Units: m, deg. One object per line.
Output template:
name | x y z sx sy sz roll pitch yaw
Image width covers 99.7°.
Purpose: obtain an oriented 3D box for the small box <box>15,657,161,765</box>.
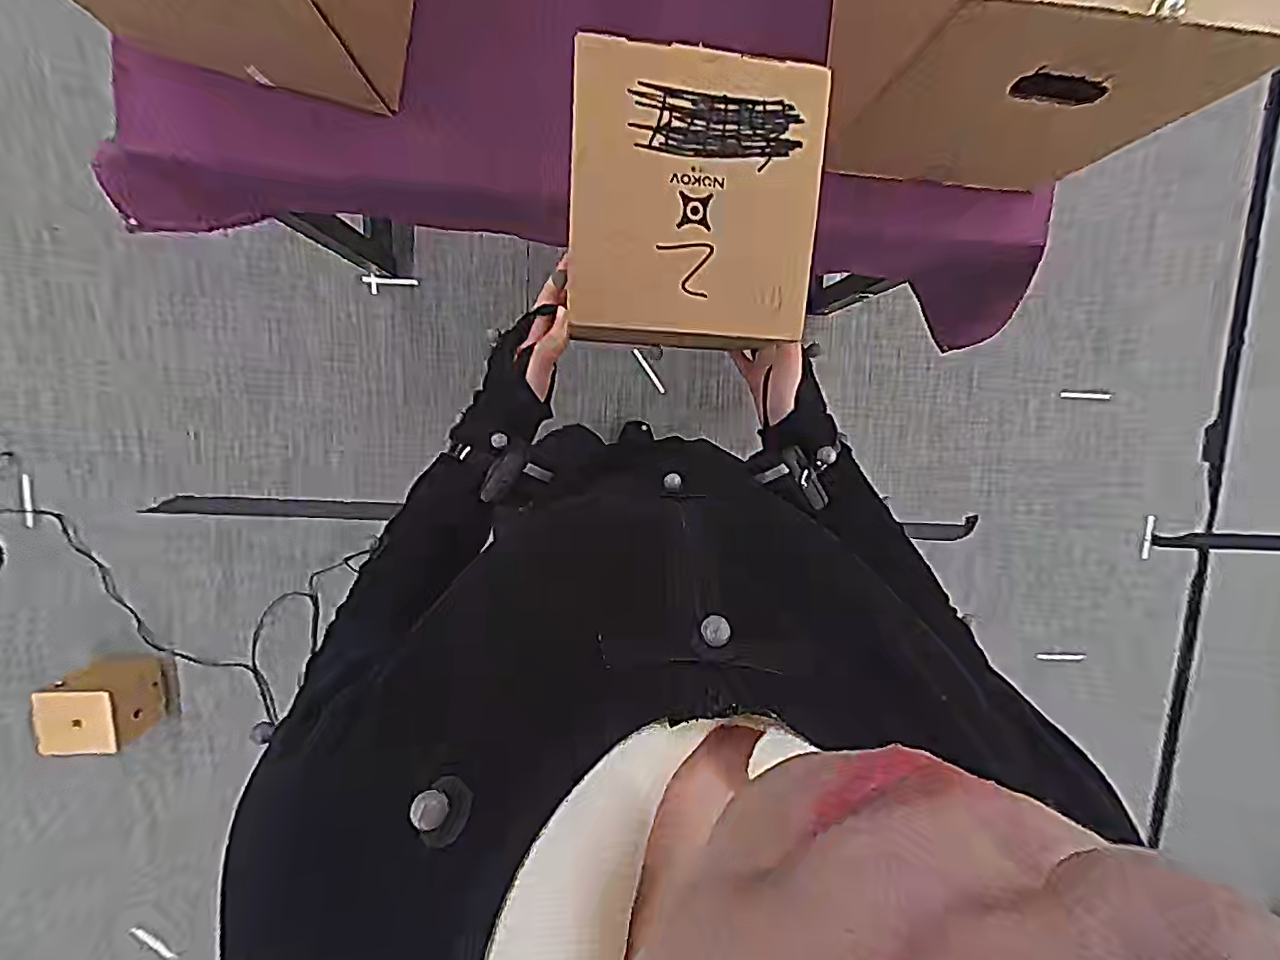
small box | -1.384 0.577 1.356 0.168 0.176 0.179 3 117 14
